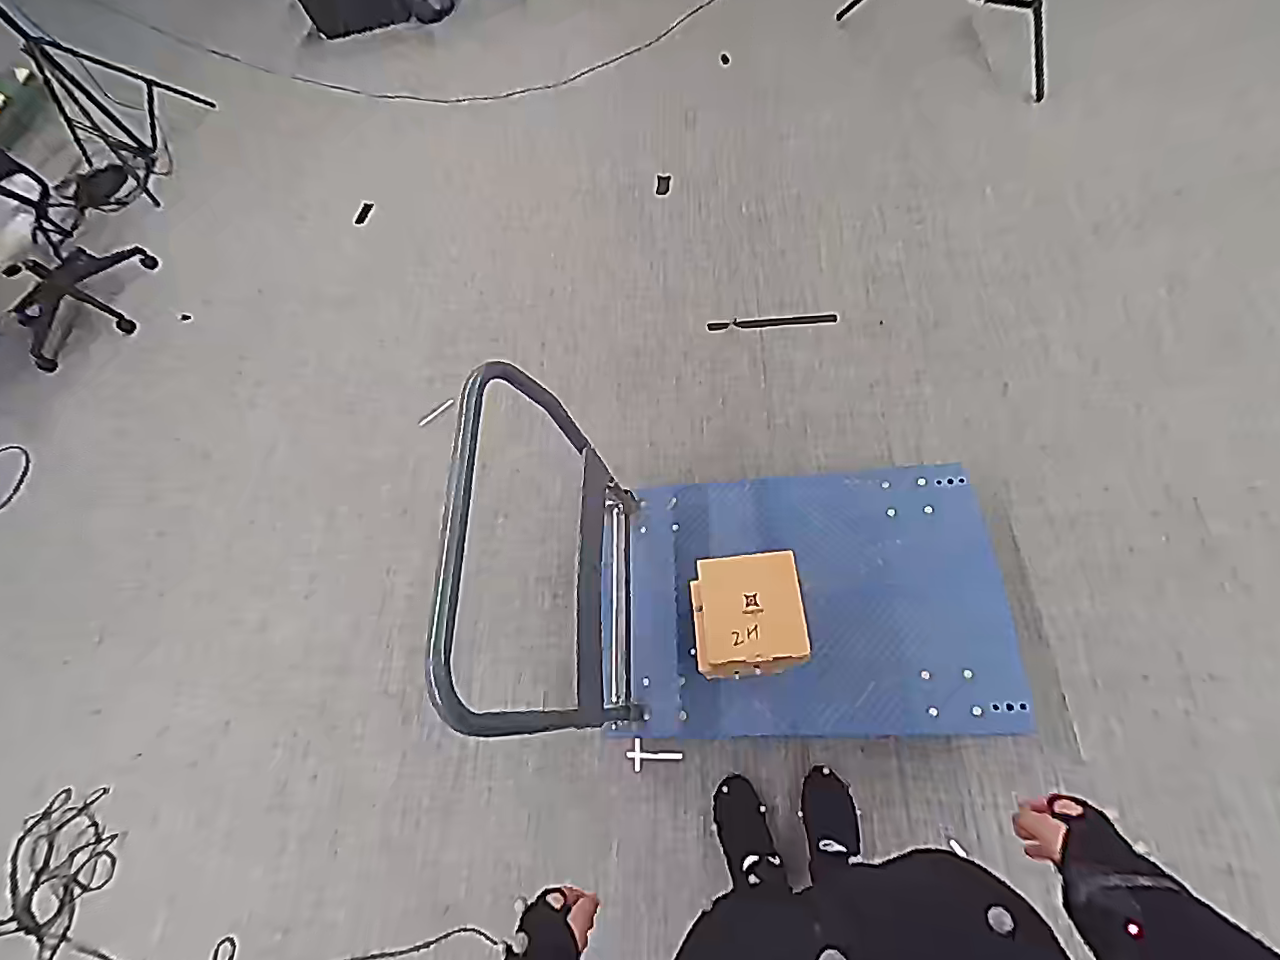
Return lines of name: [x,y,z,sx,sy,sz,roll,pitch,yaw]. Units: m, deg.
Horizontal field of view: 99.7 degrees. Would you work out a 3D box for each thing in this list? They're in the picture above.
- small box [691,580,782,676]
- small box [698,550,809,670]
small box: [0.200,0.304,1.122,0.168,0.176,0.179,-8,66,8]
small box: [0.197,0.238,0.969,0.168,0.176,0.179,-7,66,8]
